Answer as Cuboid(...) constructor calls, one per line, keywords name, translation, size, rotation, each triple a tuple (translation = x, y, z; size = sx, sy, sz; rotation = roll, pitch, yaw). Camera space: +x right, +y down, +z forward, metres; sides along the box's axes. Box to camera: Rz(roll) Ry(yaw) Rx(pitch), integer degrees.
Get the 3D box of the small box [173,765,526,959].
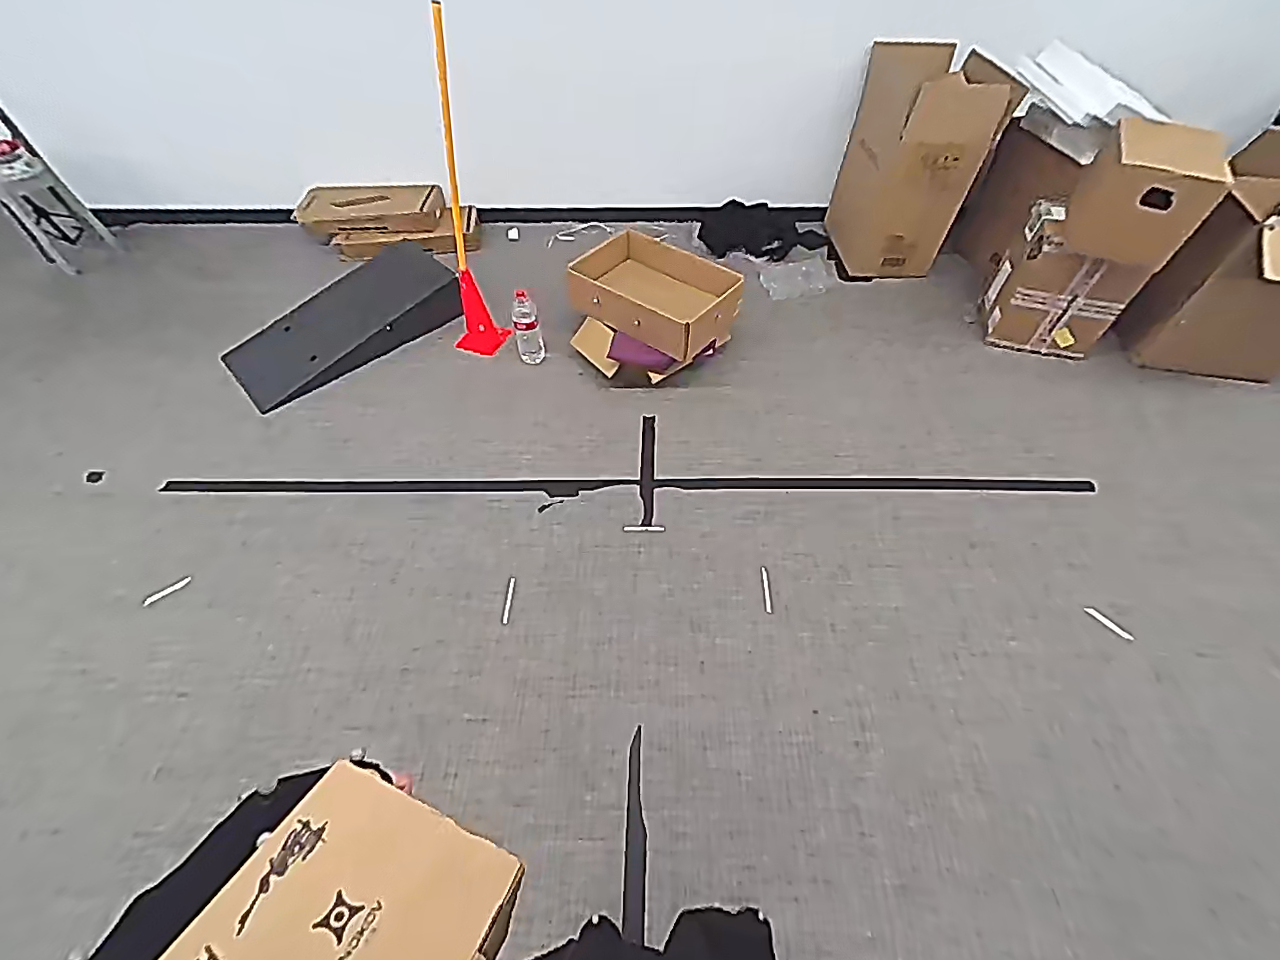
Cuboid(name="small box", translation=(-0.212, 0.368, 0.413), size=(0.179, 0.176, 0.168), rotation=(23, 34, 9))
